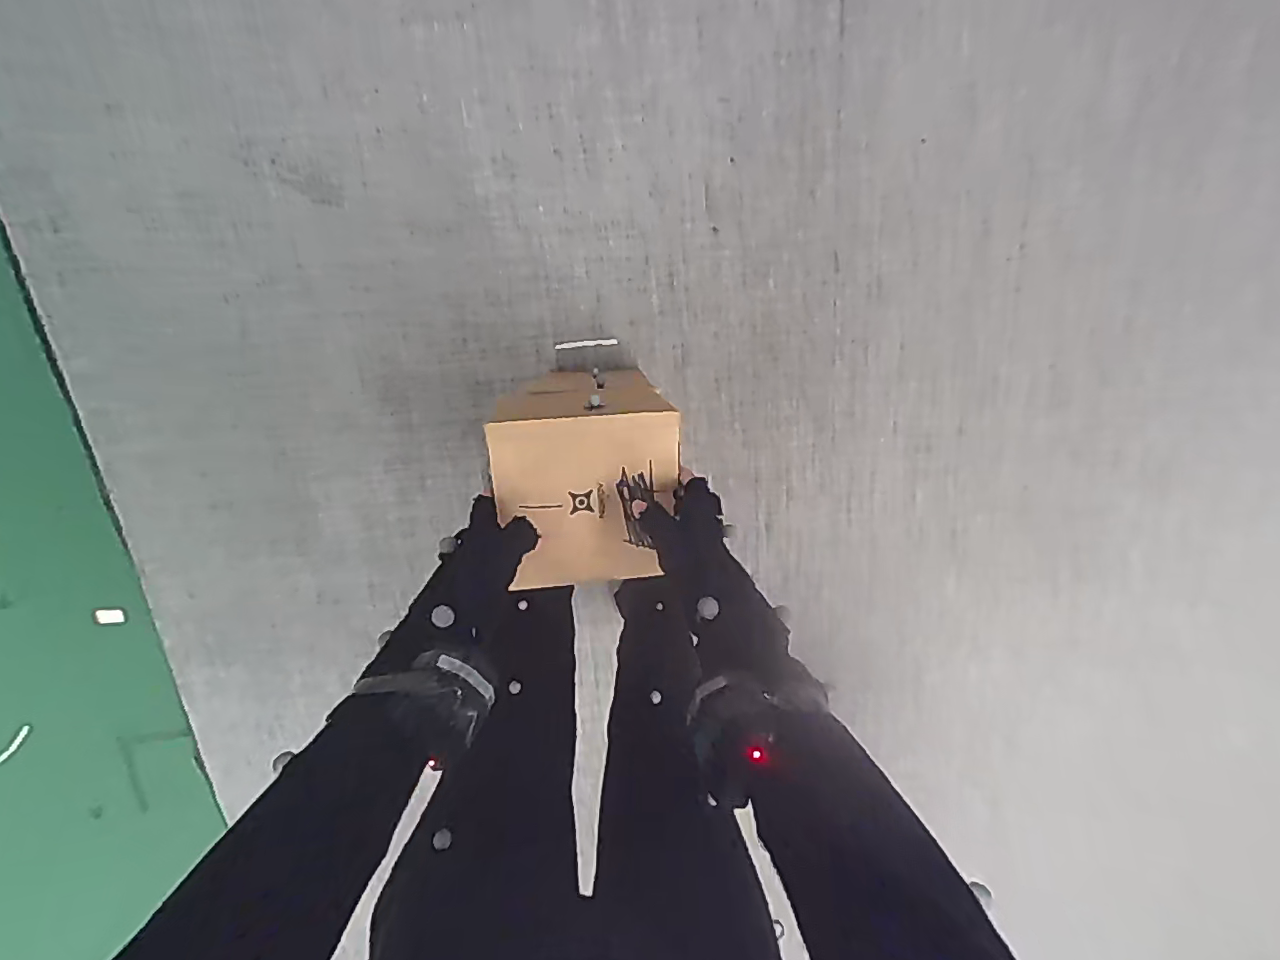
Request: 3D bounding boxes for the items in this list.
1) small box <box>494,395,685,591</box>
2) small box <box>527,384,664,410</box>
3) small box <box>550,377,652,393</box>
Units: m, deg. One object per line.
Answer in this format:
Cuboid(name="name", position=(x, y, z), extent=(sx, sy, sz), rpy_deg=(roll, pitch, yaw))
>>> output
Cuboid(name="small box", position=(-0.054, 0.002, 0.586), extent=(0.179, 0.176, 0.168), rpy_deg=(-4, 107, -6))
Cuboid(name="small box", position=(-0.064, -0.046, 0.766), extent=(0.179, 0.176, 0.168), rpy_deg=(-2, 105, -4))
Cuboid(name="small box", position=(-0.071, -0.086, 0.925), extent=(0.179, 0.176, 0.168), rpy_deg=(-3, 105, -2))
